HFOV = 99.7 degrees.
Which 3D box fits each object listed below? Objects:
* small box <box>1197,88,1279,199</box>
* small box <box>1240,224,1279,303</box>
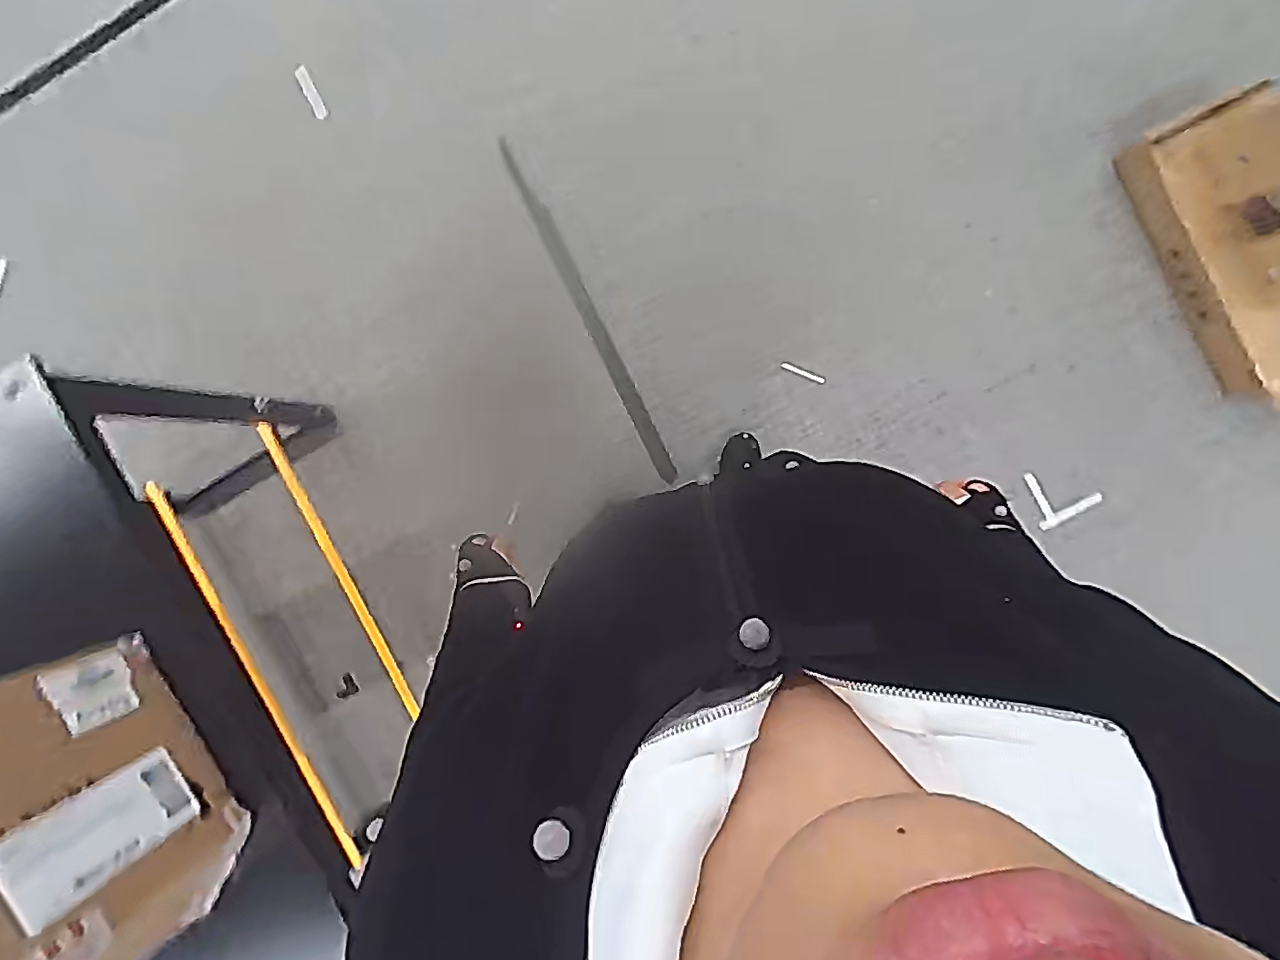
[{"bbox_3d":[1.398,-0.758,1.188,0.179,0.176,0.168,-27,93,5],"label":"small box"},{"bbox_3d":[1.522,-0.520,1.197,0.179,0.176,0.168,-24,91,5],"label":"small box"}]
